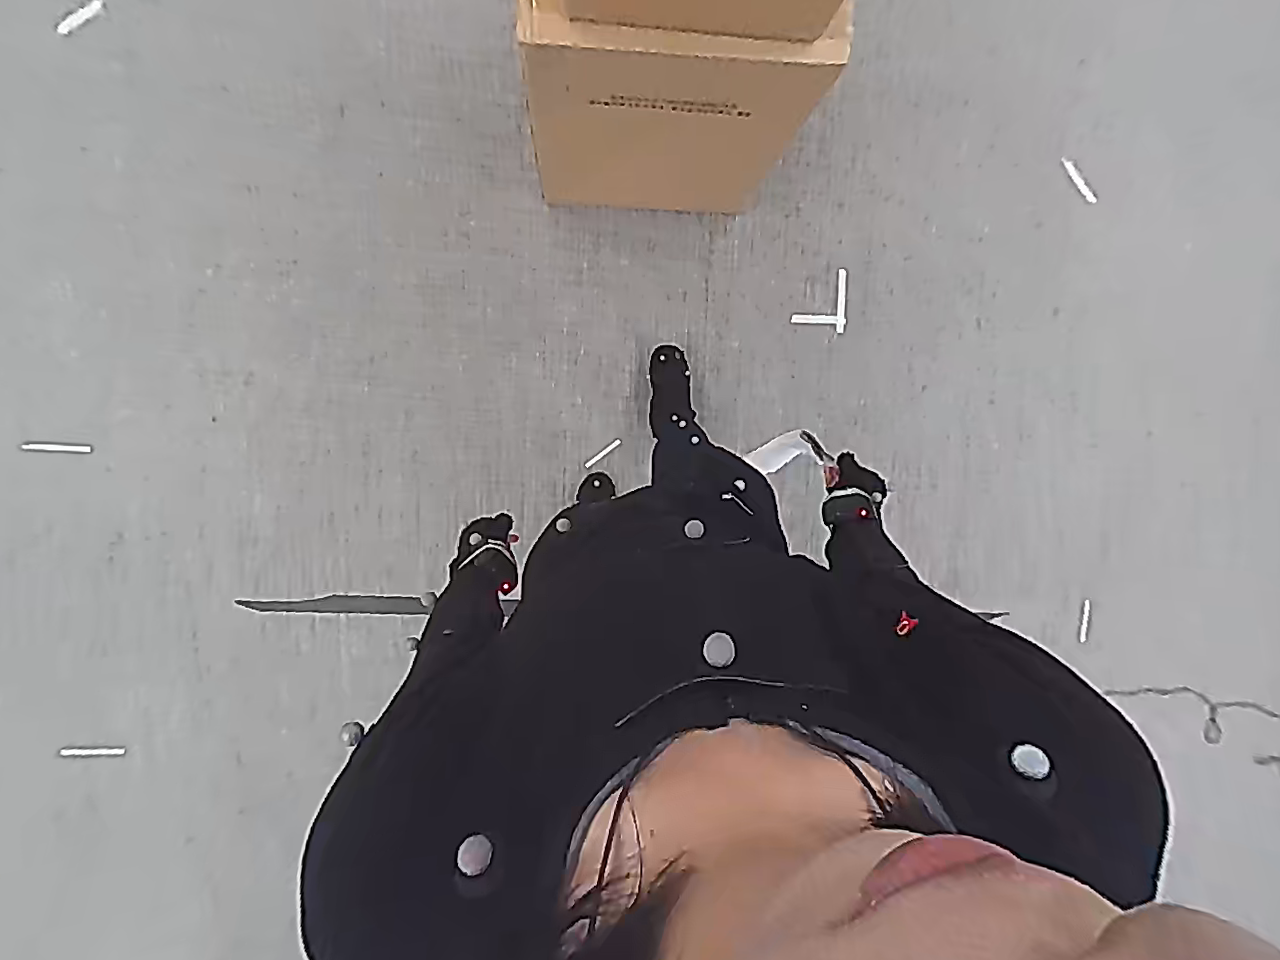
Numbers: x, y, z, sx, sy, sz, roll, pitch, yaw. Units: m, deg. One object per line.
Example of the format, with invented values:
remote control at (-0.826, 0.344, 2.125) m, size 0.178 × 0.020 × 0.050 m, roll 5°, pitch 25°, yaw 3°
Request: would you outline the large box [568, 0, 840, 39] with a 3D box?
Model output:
large box at (0.104, -0.834, 0.683) m, size 0.408 × 0.320 × 0.320 m, roll 0°, pitch 96°, yaw -7°
